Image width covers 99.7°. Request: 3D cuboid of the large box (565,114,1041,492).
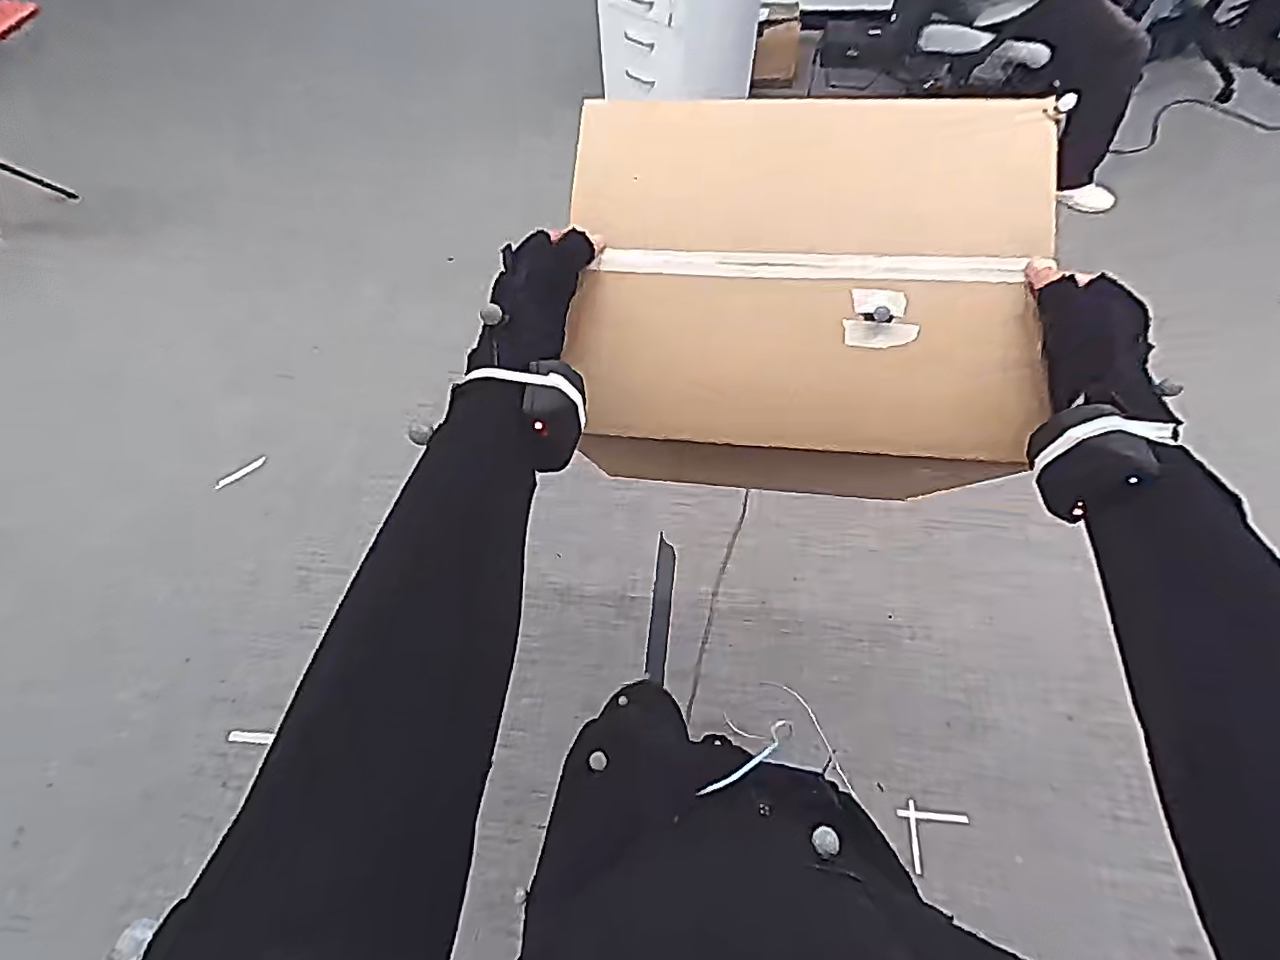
[{"bbox_3d":[0.153,-0.163,0.624,0.408,0.320,0.320,4,85,7],"label":"large box"}]
